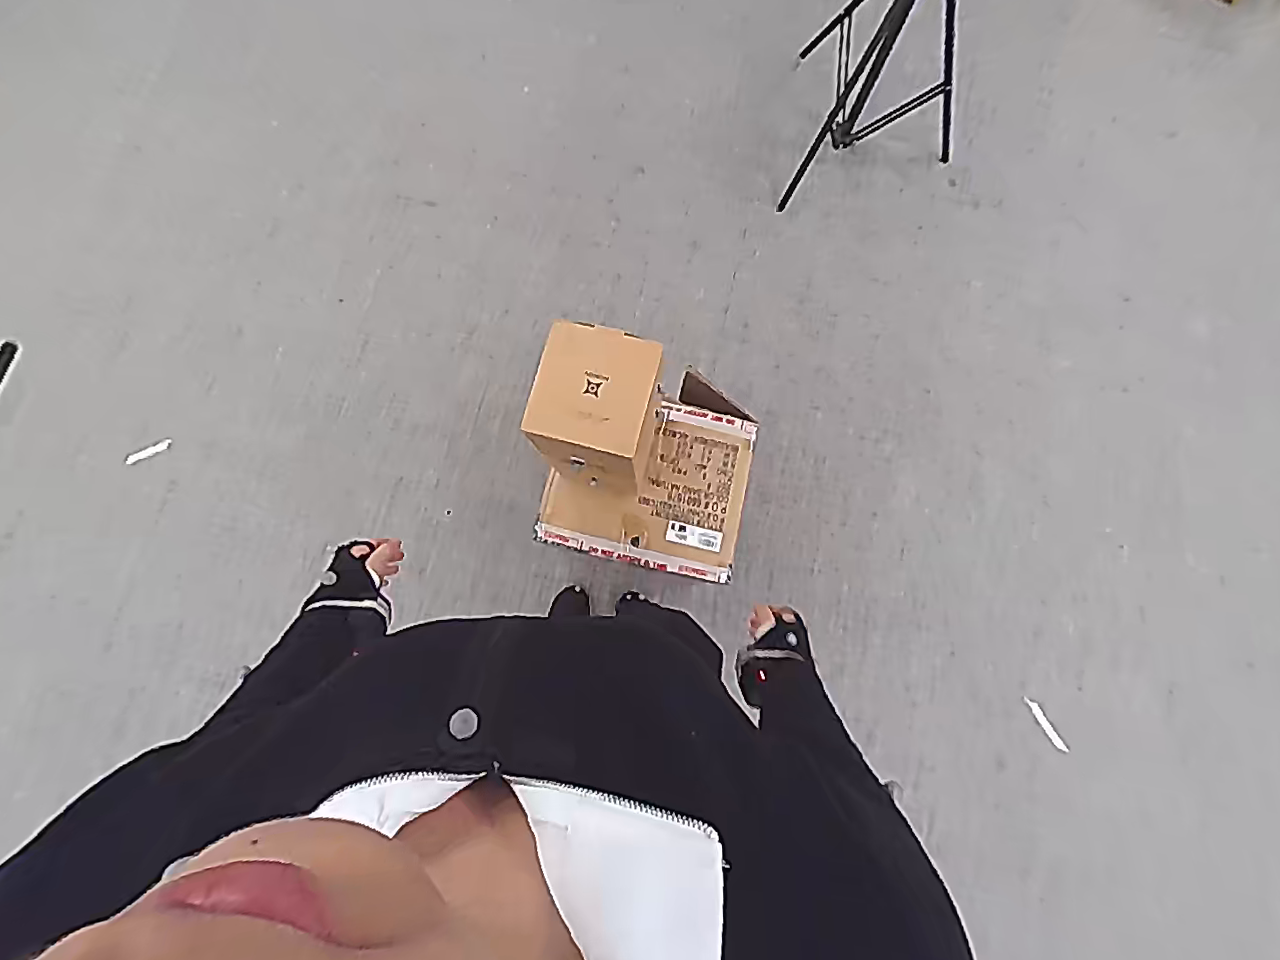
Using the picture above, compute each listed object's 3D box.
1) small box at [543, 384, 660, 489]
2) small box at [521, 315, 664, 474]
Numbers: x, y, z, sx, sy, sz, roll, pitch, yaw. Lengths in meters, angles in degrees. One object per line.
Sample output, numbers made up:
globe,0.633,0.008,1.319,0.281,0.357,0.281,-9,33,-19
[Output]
small box,-0.065,-0.096,0.996,0.168,0.176,0.179,14,81,3
small box,-0.065,-0.122,0.836,0.168,0.176,0.179,14,81,4
